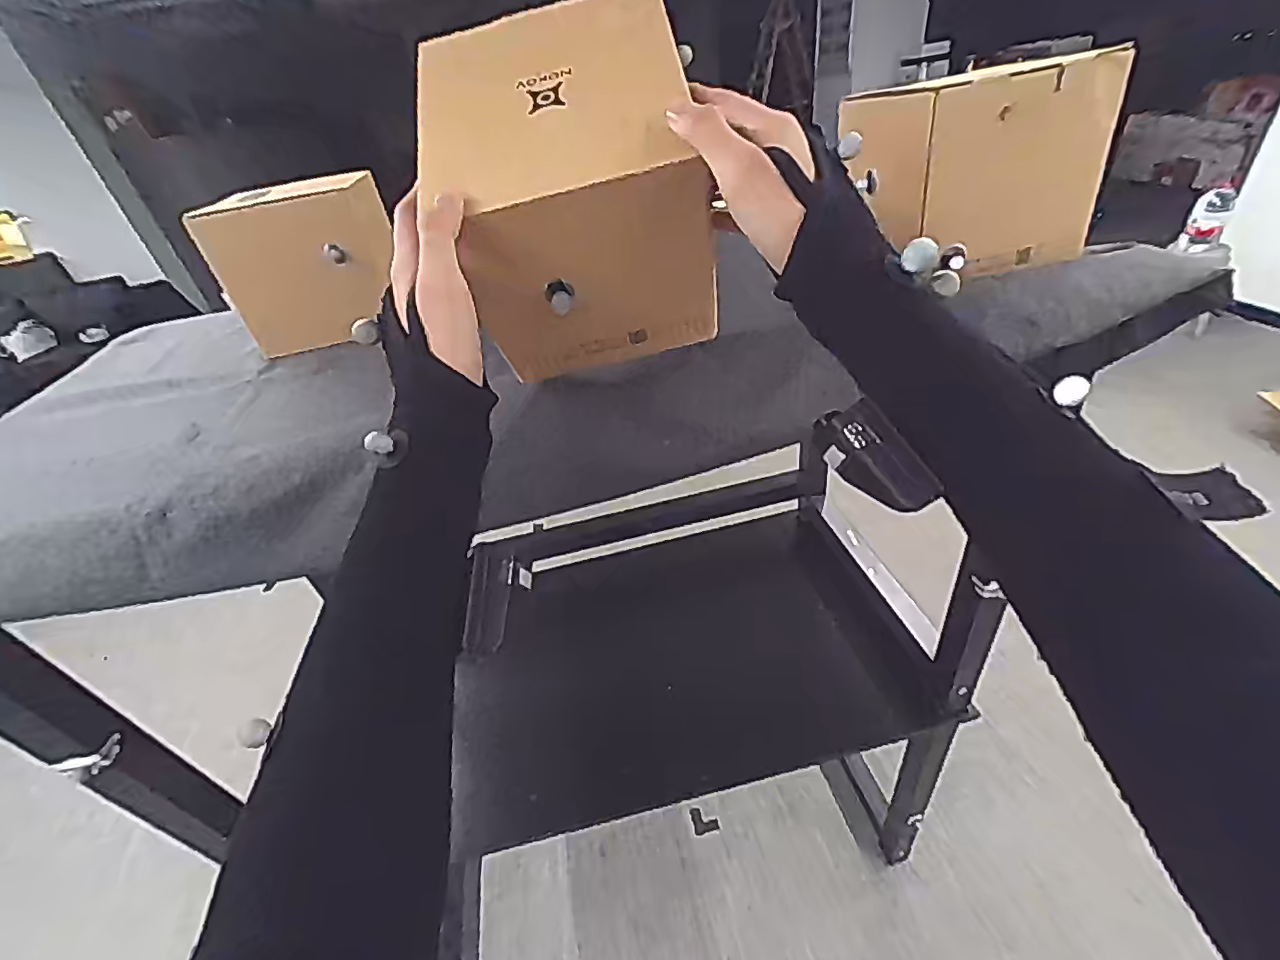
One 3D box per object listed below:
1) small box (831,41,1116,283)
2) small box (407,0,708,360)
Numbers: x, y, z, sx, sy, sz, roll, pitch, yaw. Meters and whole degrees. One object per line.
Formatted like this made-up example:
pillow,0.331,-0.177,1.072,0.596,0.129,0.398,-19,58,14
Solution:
small box,0.308,-0.308,0.545,0.168,0.176,0.179,-12,32,-2
small box,-0.048,-0.208,0.397,0.168,0.176,0.179,-13,66,5
